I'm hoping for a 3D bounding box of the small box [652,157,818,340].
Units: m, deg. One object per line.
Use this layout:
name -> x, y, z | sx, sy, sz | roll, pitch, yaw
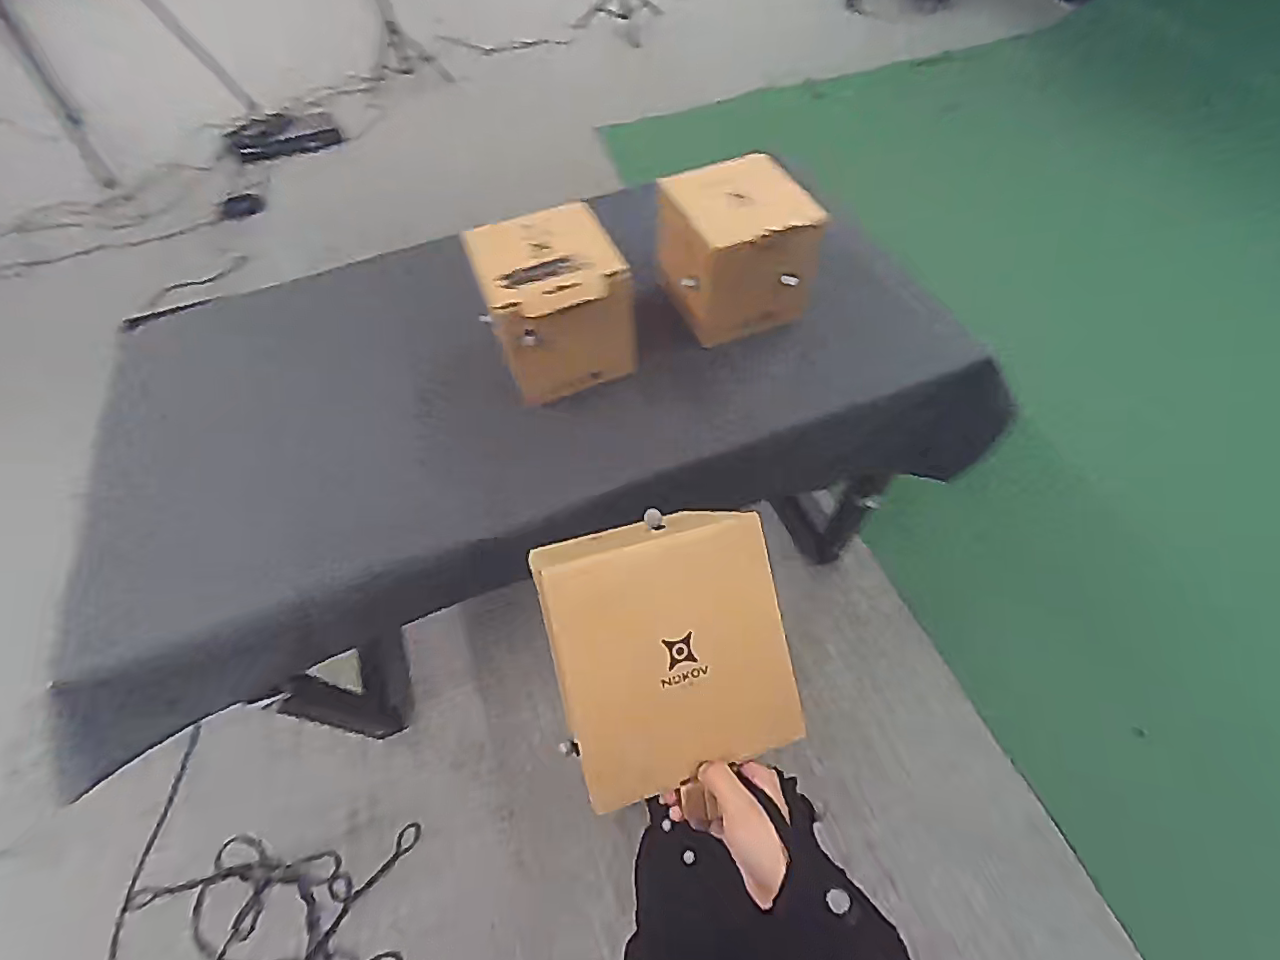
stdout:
small box -> 0.127, -0.325, 0.783 | 0.168, 0.176, 0.179 | -20, 58, -11
